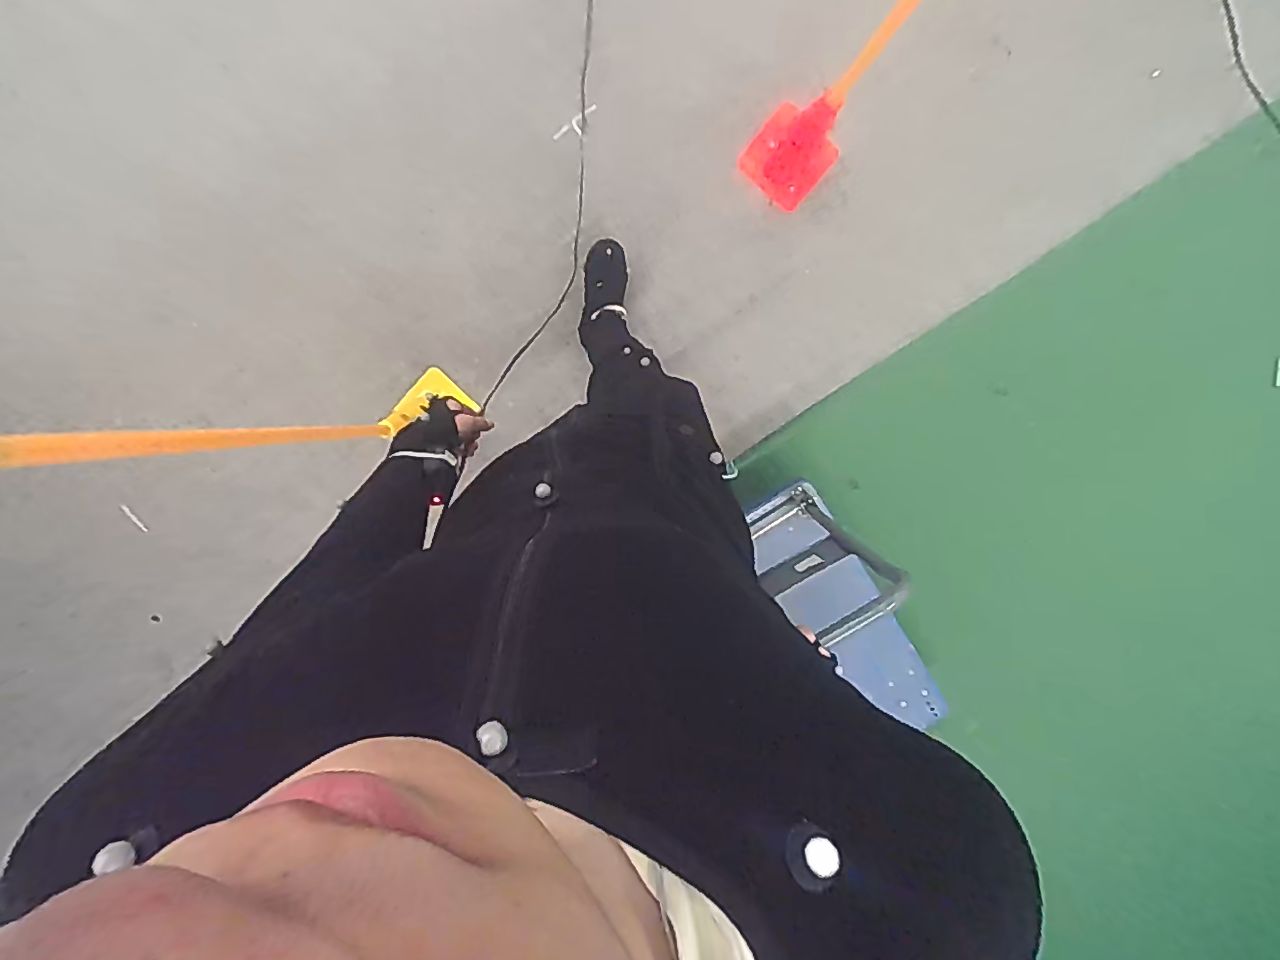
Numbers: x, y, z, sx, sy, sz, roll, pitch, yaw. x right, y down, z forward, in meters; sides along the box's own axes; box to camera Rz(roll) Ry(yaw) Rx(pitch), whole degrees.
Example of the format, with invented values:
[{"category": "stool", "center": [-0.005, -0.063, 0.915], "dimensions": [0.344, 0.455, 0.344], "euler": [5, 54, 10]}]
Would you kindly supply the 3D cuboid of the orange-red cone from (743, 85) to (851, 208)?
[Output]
[{"category": "orange-red cone", "center": [0.399, -0.809, 1.247], "dimensions": [0.198, 0.360, 0.199], "euler": [40, 99, -10]}]
